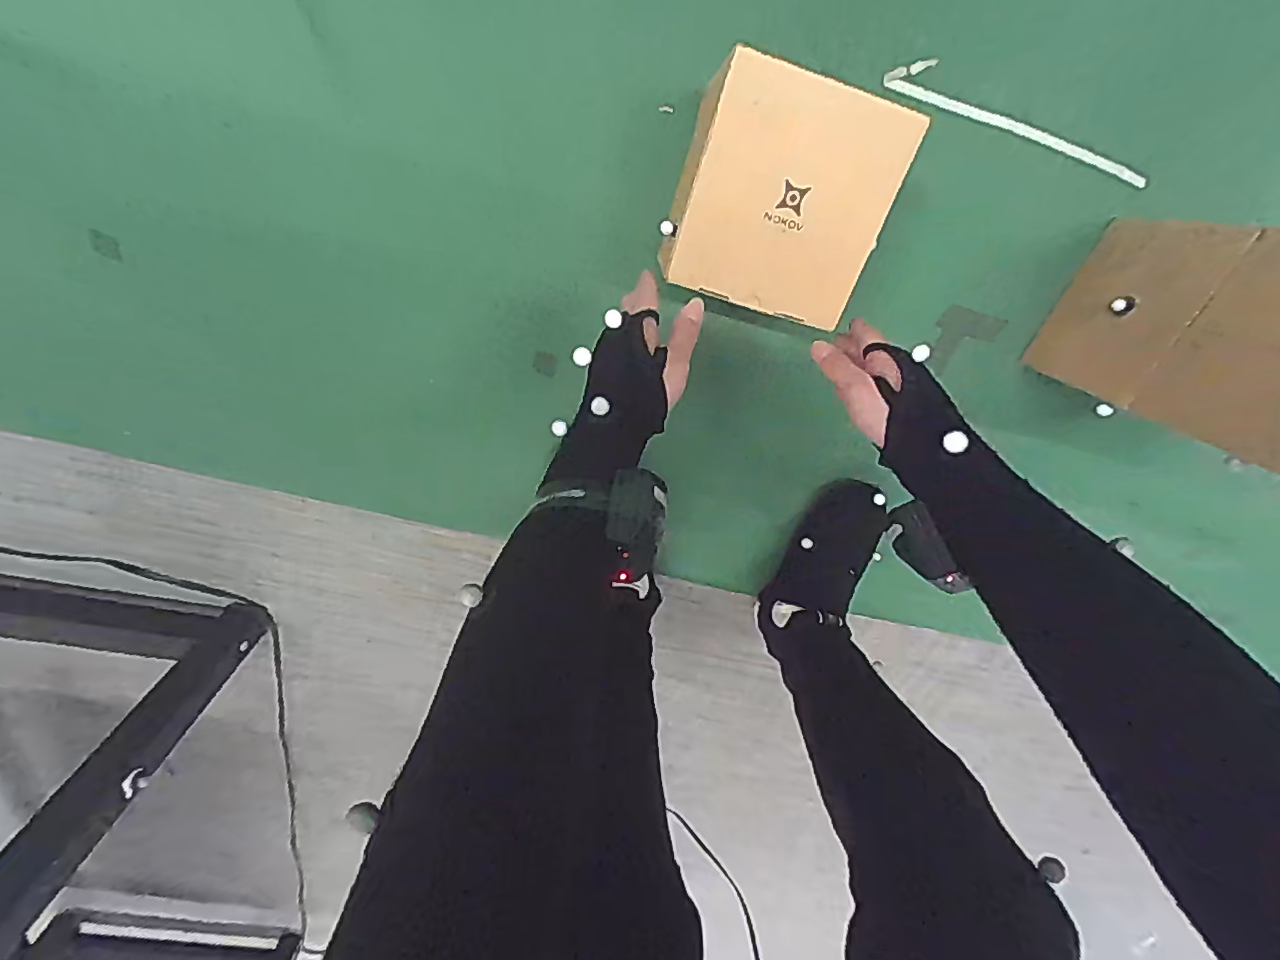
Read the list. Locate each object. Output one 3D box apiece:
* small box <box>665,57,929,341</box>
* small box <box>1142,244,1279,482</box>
[{"bbox_3d":[0.126,-0.259,0.520,0.168,0.176,0.179,14,117,-9],"label":"small box"},{"bbox_3d":[0.586,-0.077,0.437,0.168,0.176,0.179,15,117,-9],"label":"small box"}]
